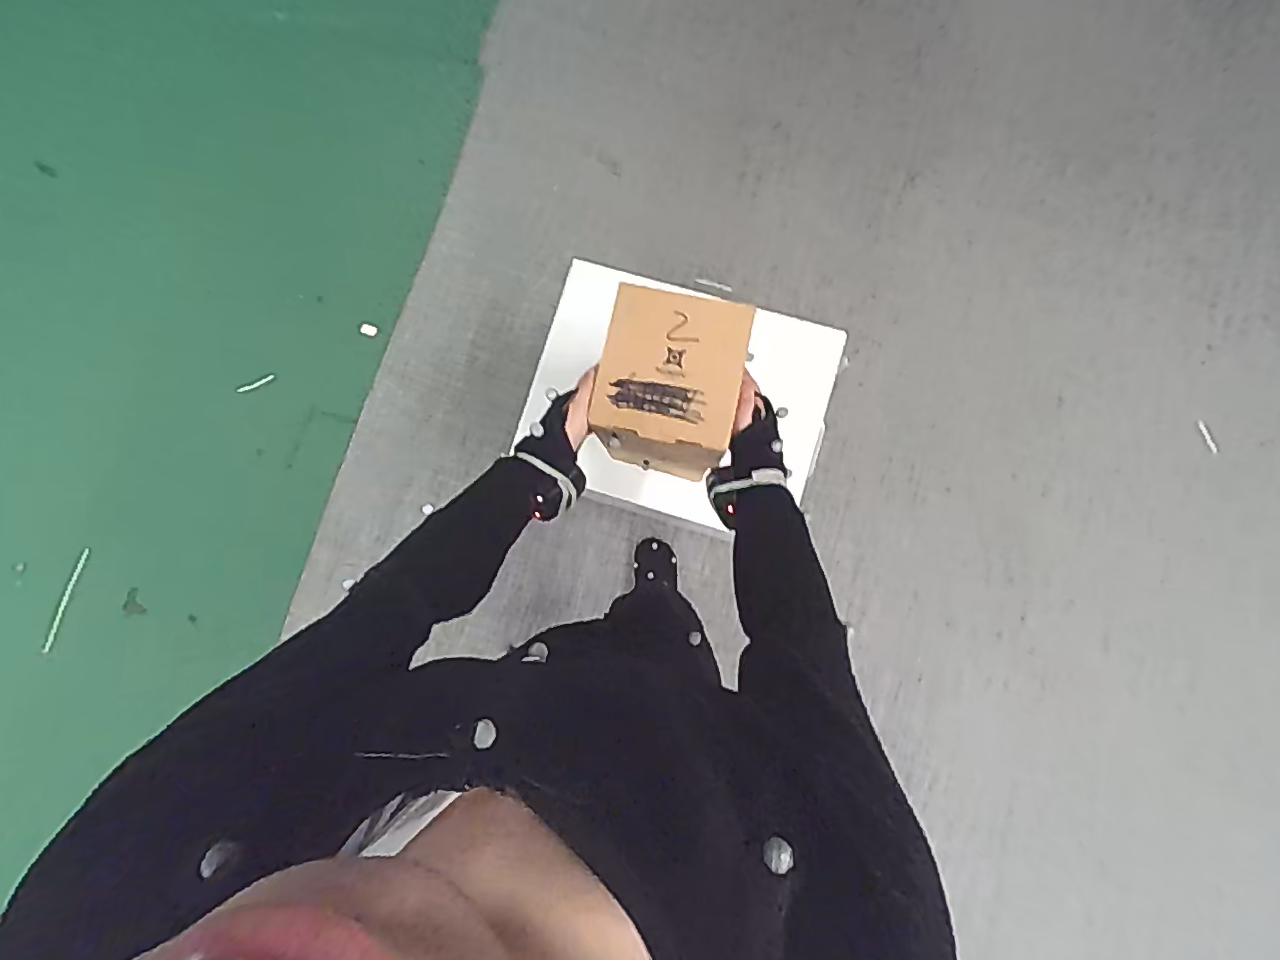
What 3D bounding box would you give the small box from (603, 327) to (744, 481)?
[{"bbox_3d":[0.051,-0.109,0.847,0.168,0.176,0.179,16,84,5],"label":"small box"}]
